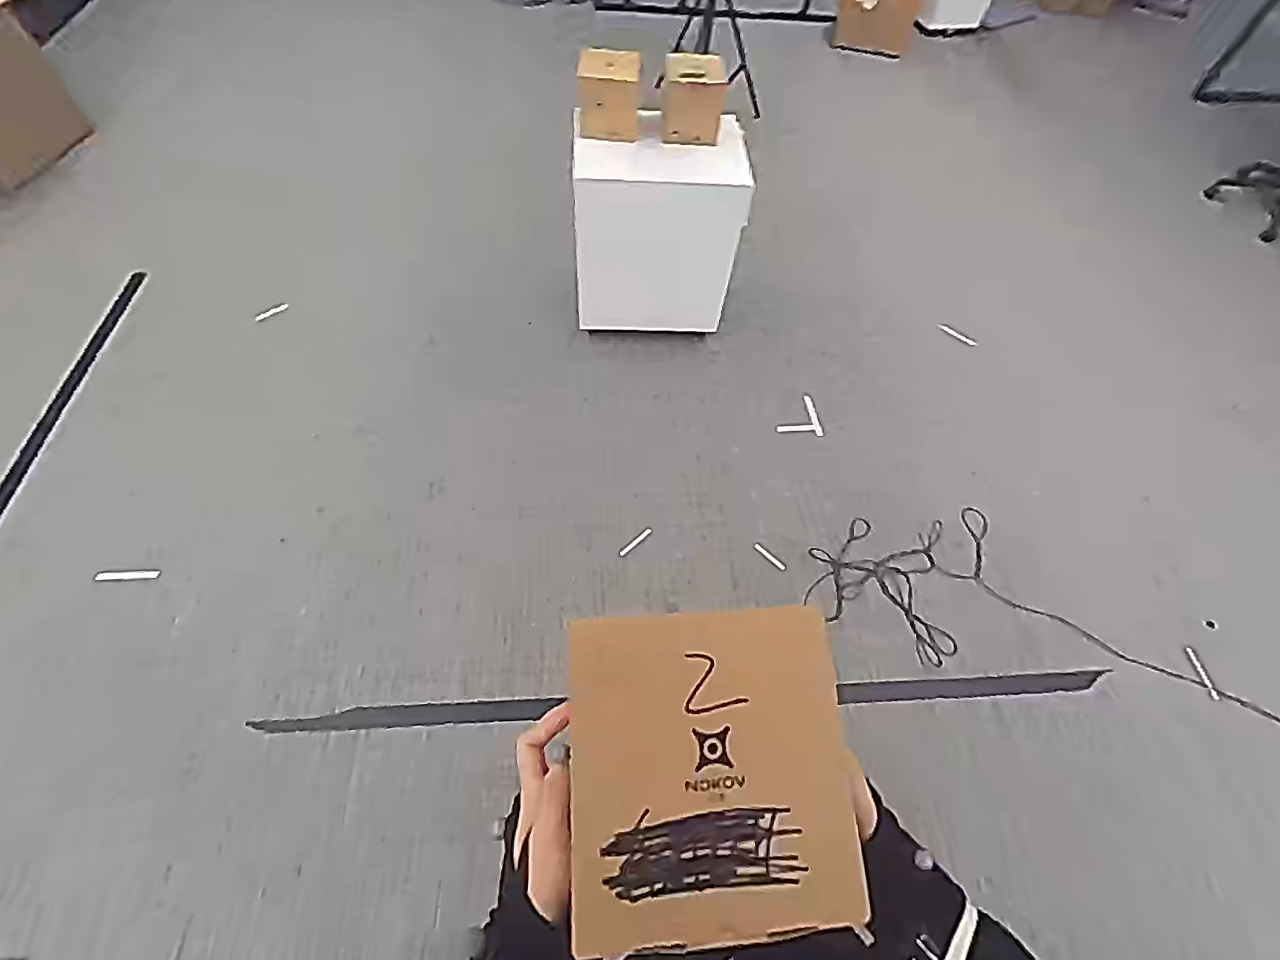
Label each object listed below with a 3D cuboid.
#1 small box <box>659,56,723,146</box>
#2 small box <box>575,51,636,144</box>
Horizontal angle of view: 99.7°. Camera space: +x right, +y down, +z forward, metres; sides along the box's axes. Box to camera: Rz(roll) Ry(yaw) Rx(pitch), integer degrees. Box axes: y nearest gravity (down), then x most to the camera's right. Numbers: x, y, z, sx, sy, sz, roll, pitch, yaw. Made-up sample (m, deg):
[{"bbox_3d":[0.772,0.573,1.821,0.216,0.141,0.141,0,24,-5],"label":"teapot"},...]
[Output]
[{"bbox_3d":[0.146,-1.122,1.605,0.168,0.176,0.179,1,58,-4],"label":"small box"},{"bbox_3d":[-0.099,-1.118,1.586,0.168,0.176,0.179,3,59,-3],"label":"small box"}]
